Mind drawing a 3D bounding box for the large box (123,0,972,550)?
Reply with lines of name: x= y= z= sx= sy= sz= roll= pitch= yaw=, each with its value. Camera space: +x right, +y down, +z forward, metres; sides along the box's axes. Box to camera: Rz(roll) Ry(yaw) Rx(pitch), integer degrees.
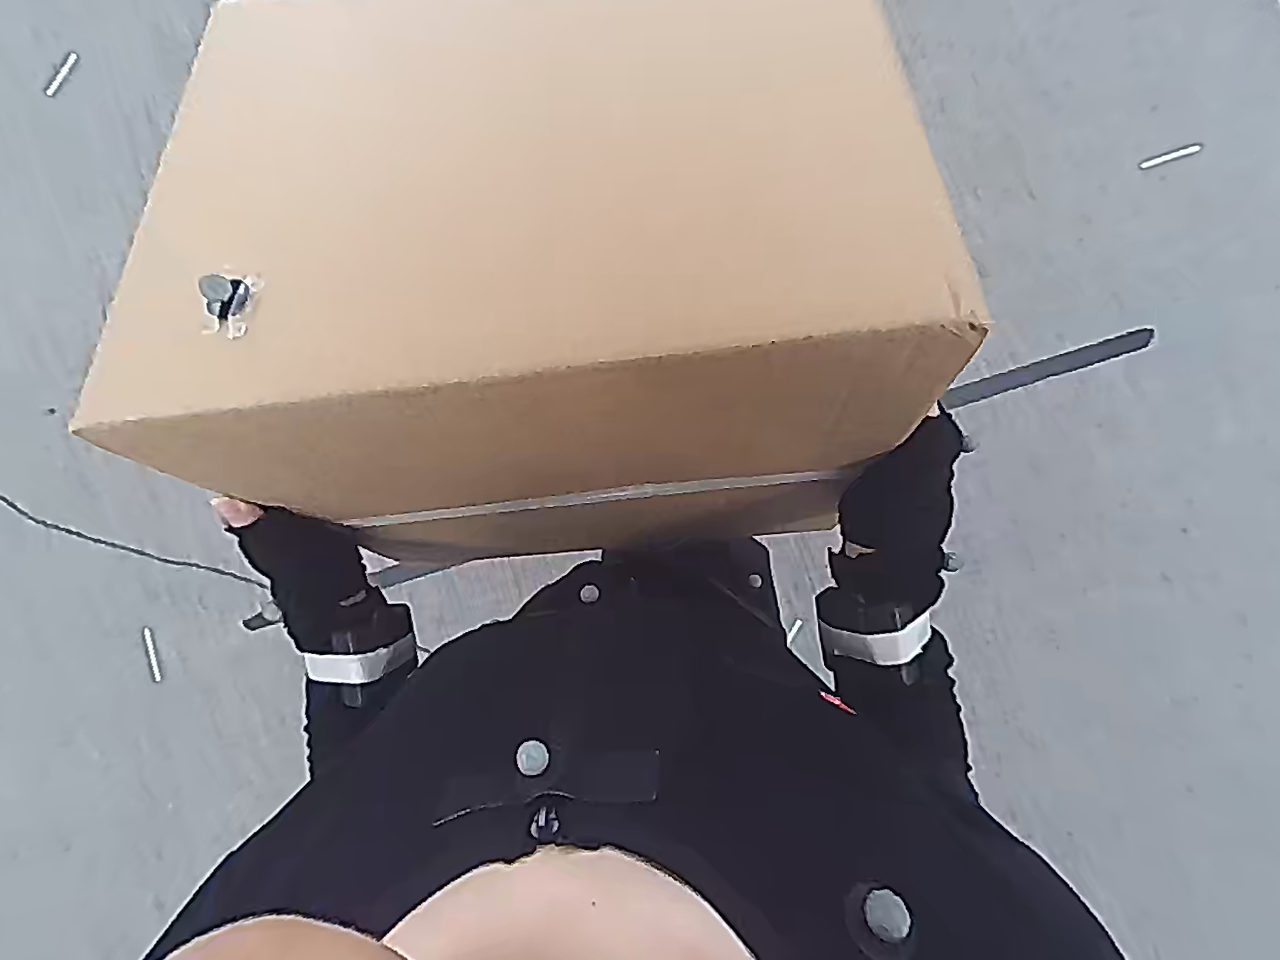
large box: x=-0.050 y=-0.144 z=0.433 sx=0.408 sy=0.320 sz=0.320 roll=-6 pitch=70 yaw=5
